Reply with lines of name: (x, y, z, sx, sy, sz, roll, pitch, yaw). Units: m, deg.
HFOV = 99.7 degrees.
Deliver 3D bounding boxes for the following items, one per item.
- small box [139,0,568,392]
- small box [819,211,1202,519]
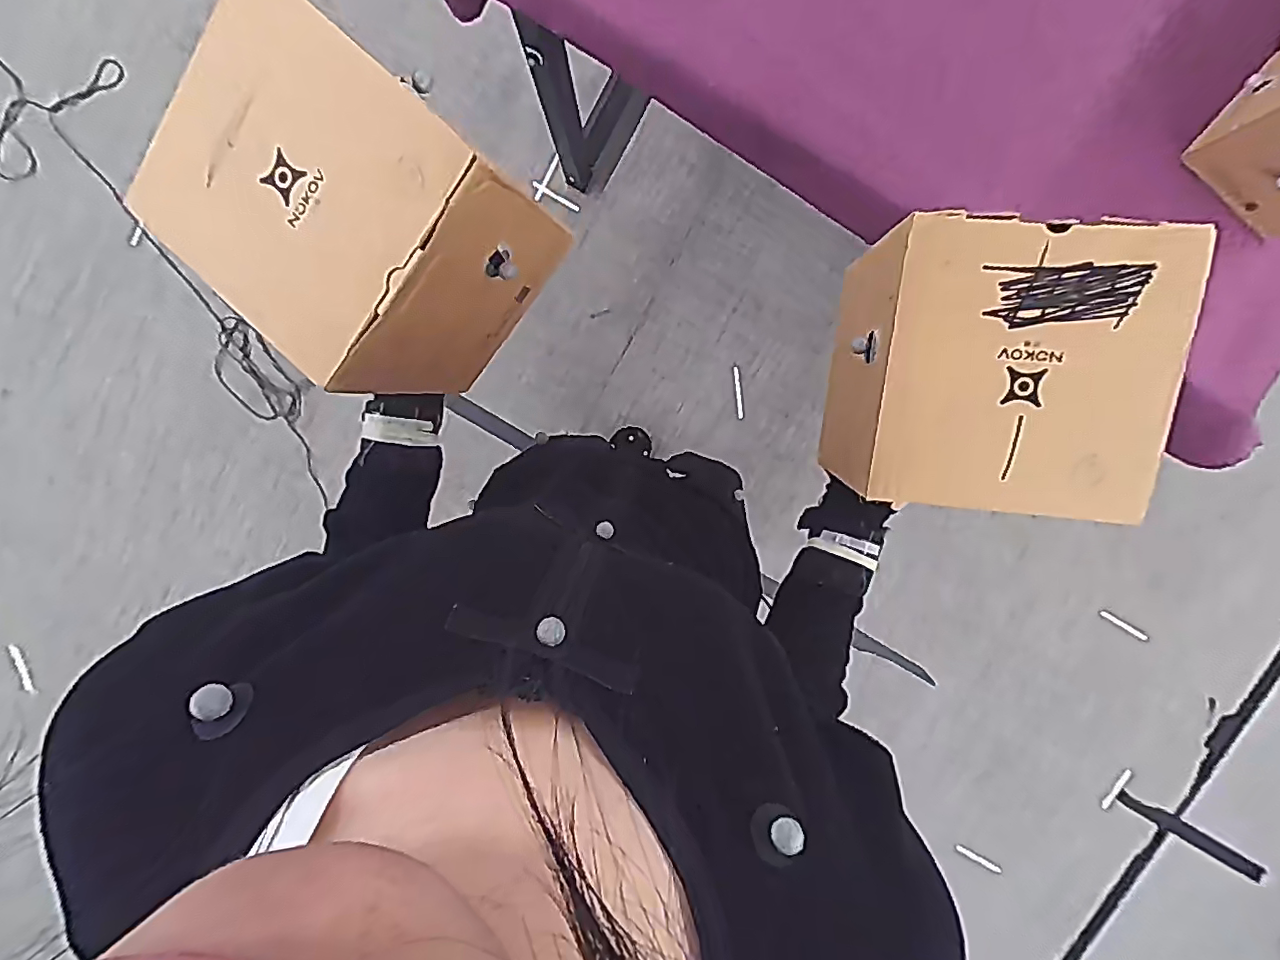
small box: (-0.179, -0.182, 0.388, 0.179, 0.176, 0.168, 42, 104, 3)
small box: (0.243, -0.082, 0.409, 0.168, 0.176, 0.179, 6, 101, 6)
